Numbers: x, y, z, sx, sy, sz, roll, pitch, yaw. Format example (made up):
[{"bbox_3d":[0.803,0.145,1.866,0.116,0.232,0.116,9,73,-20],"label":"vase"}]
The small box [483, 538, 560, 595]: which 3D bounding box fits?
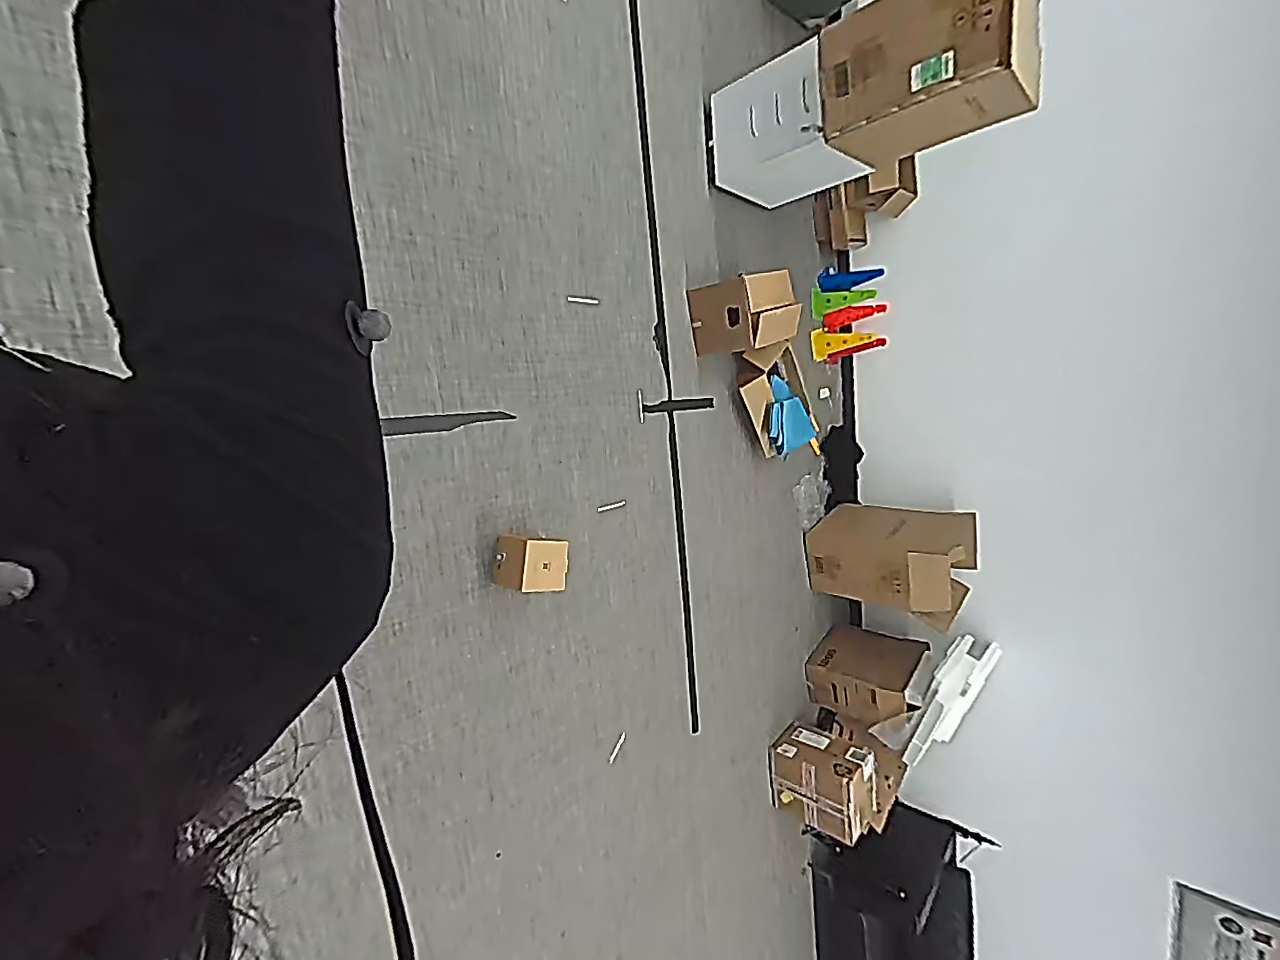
[{"bbox_3d":[-0.393,0.281,1.787,0.179,0.176,0.168,10,84,-47],"label":"small box"}]
